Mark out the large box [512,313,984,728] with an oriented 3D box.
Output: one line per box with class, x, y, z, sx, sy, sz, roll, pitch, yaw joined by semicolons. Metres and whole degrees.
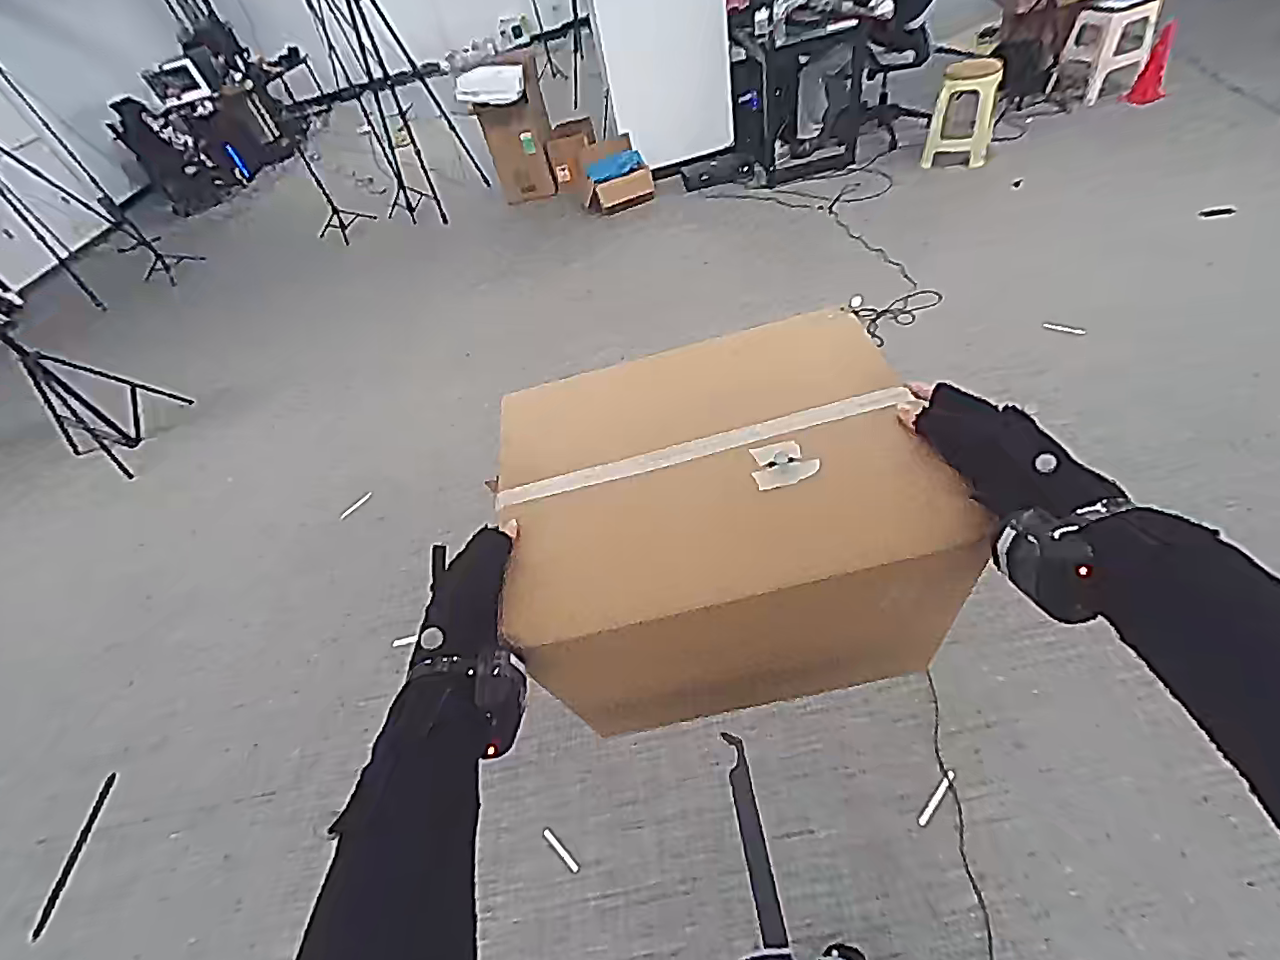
large box;0.092;0.062;0.651;0.408;0.320;0.320;-14;52;3
